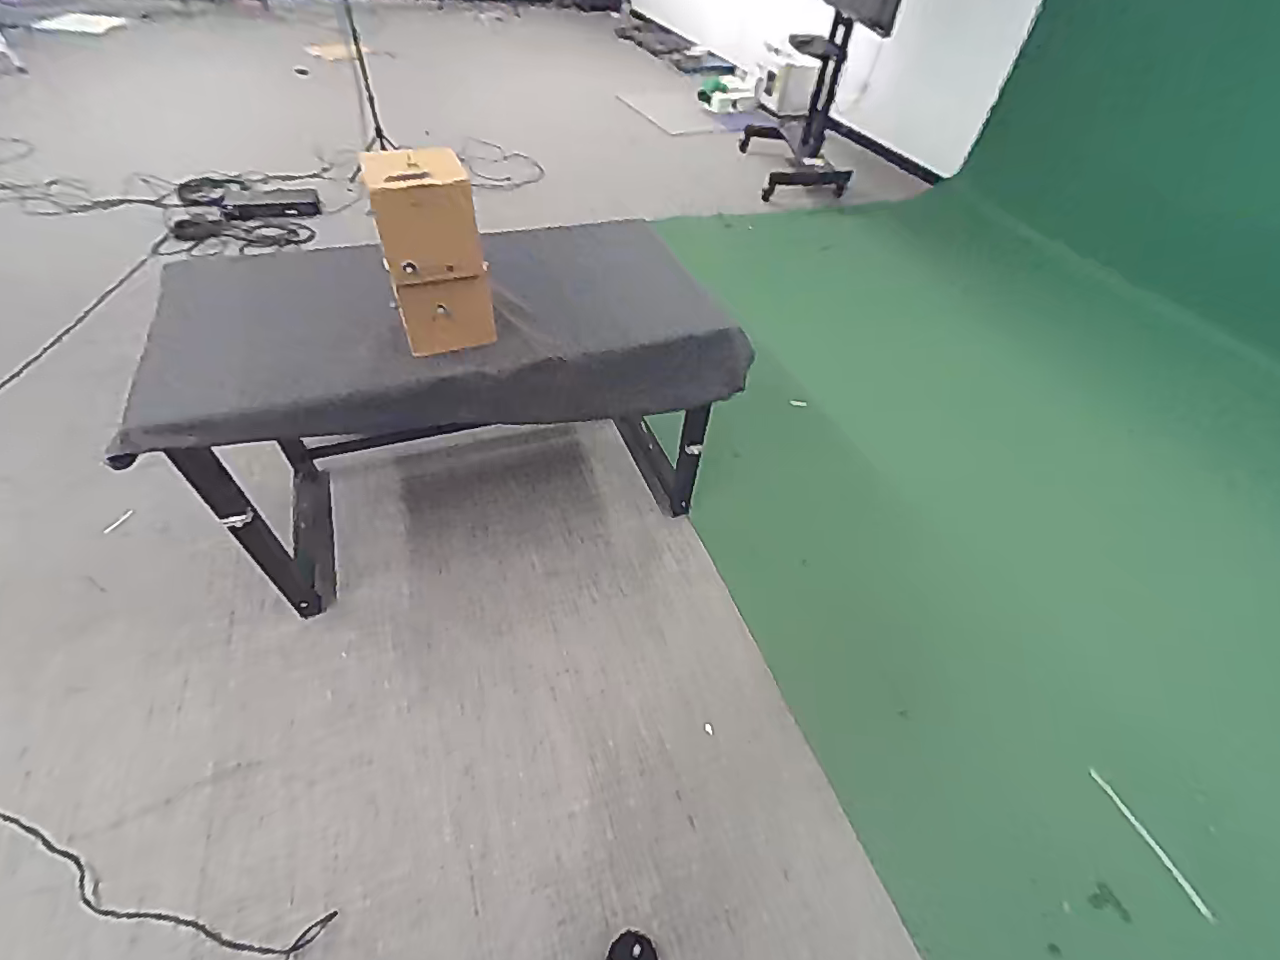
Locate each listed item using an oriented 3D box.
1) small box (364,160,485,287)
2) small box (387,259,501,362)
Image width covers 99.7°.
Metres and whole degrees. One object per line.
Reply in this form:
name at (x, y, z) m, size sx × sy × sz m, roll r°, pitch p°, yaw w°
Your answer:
small box at (-0.398, -0.475, 1.013) m, size 0.168 × 0.176 × 0.179 m, roll -15°, pitch 50°, yaw -18°
small box at (-0.409, -0.371, 1.143) m, size 0.179 × 0.176 × 0.168 m, roll -18°, pitch 50°, yaw -21°
